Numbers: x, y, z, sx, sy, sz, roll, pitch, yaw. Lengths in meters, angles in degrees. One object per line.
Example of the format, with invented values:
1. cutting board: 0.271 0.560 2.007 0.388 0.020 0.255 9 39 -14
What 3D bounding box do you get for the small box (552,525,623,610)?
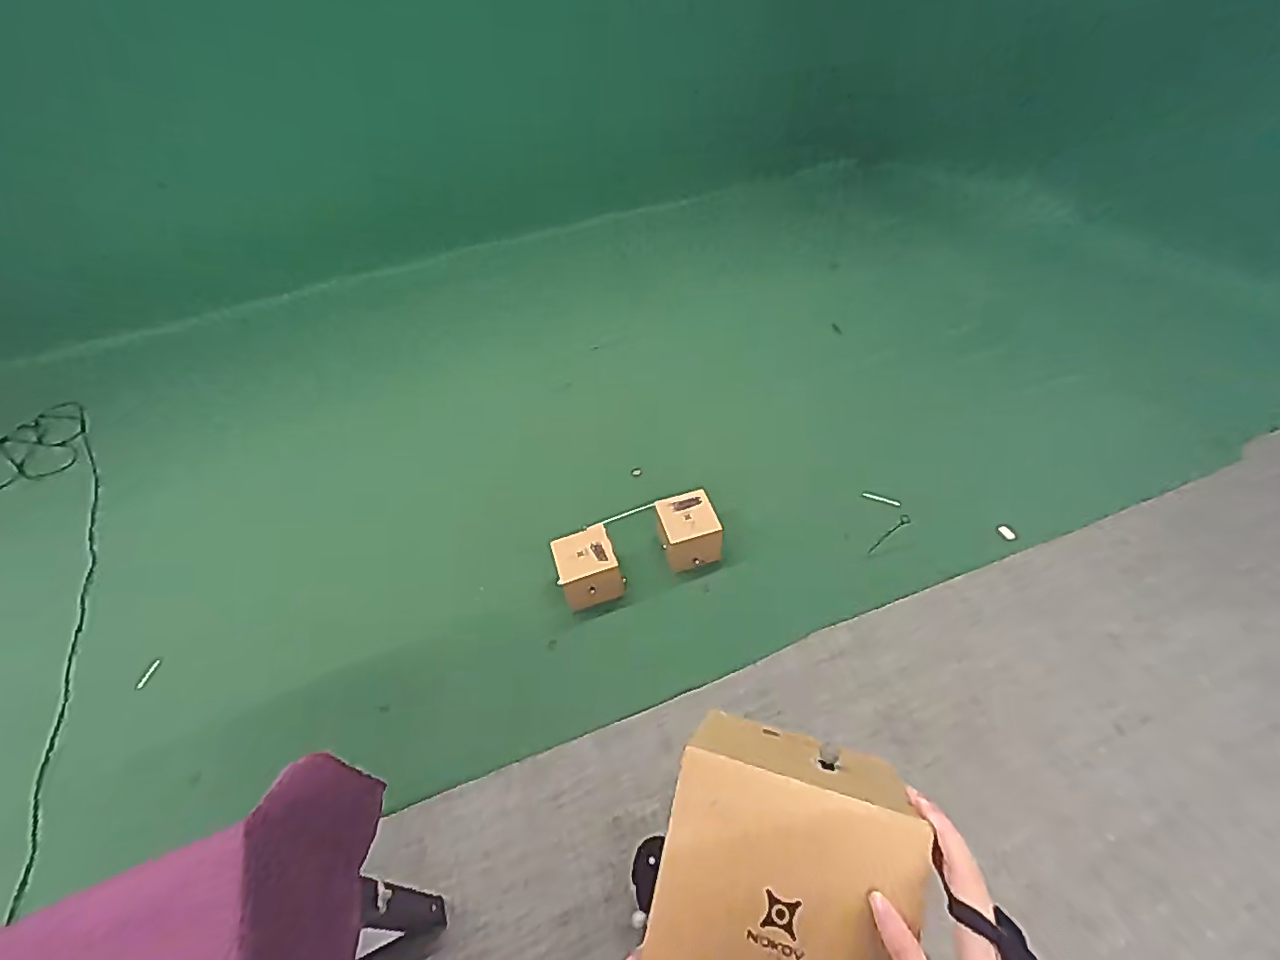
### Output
1. small box: -0.157 0.272 1.673 0.179 0.176 0.168 -18 48 -7
